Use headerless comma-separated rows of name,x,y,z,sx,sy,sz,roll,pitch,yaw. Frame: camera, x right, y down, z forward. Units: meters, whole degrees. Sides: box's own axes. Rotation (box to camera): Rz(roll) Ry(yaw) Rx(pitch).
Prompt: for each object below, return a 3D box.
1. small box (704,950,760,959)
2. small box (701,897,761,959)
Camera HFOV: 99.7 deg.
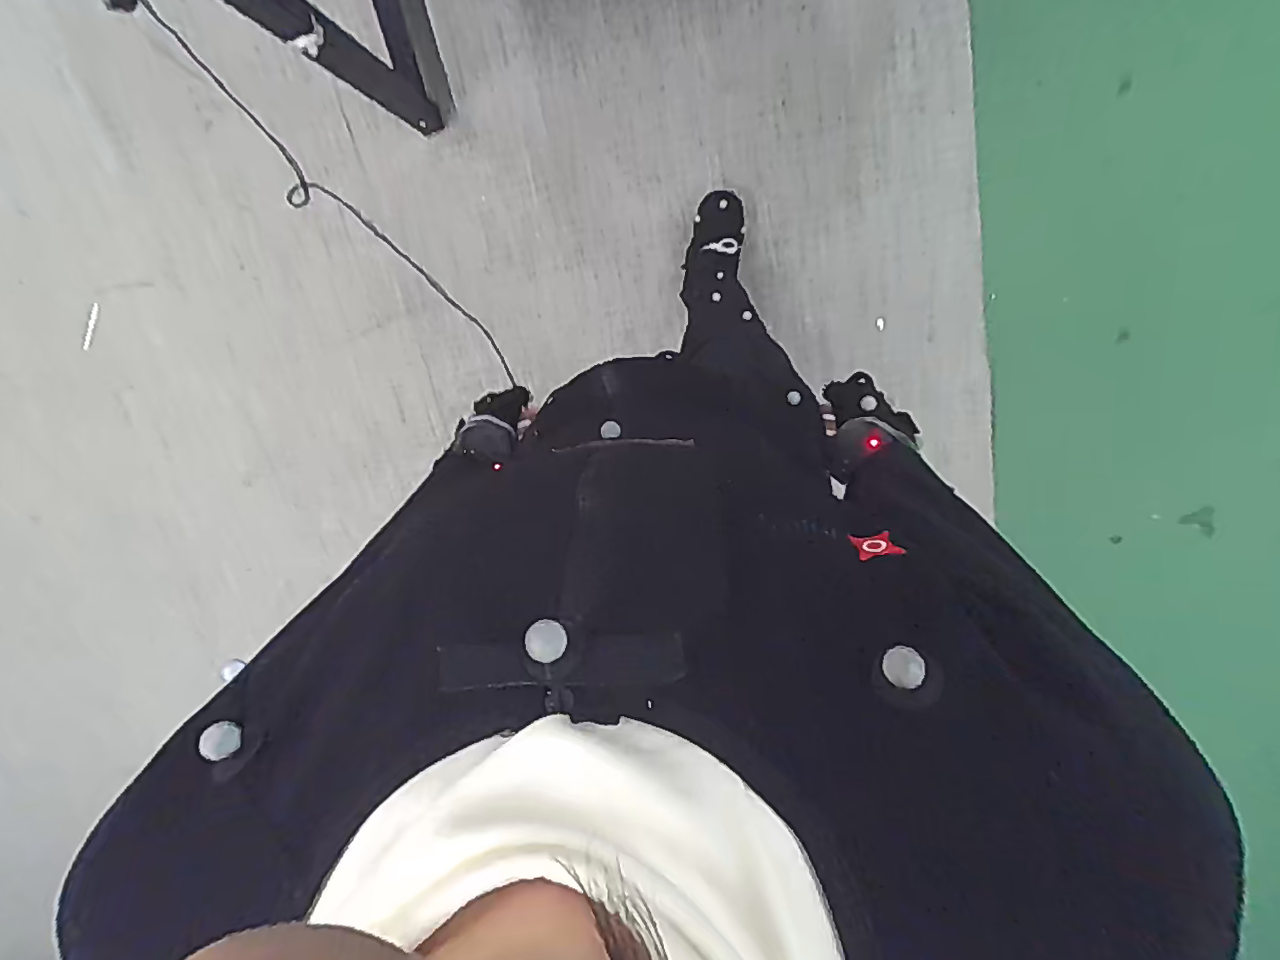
small box,0.283,1.554,1.617,0.179,0.176,0.168,-9,106,8
small box,0.300,1.518,1.775,0.179,0.176,0.168,-11,105,7
